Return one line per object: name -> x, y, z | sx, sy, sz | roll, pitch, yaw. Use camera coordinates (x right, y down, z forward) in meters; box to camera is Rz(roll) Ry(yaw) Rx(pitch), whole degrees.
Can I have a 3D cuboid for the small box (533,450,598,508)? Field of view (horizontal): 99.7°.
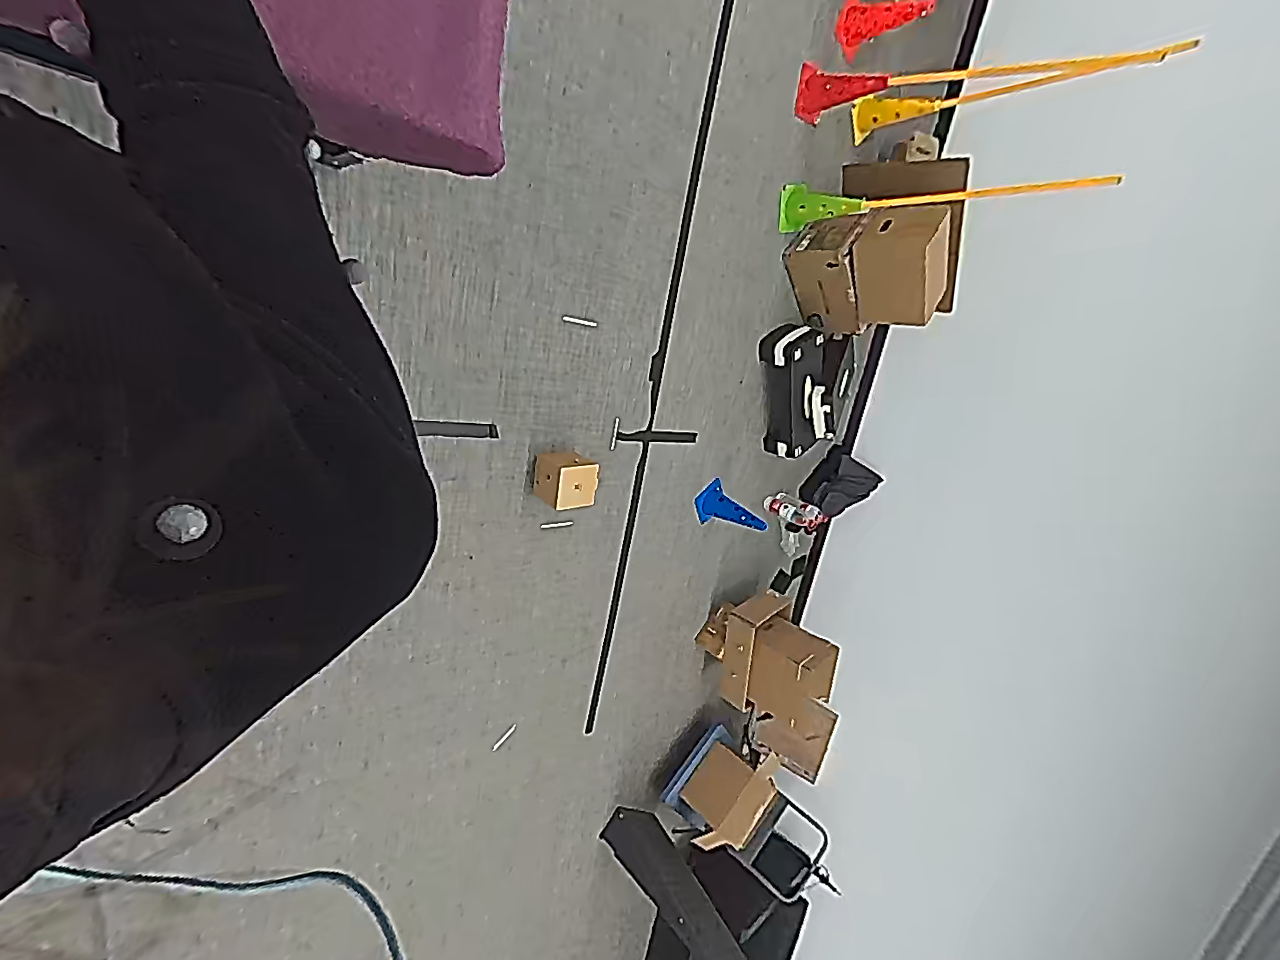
small box -> -0.284, -0.008, 2.026 | 0.179, 0.176, 0.168 | -9, 115, -43
